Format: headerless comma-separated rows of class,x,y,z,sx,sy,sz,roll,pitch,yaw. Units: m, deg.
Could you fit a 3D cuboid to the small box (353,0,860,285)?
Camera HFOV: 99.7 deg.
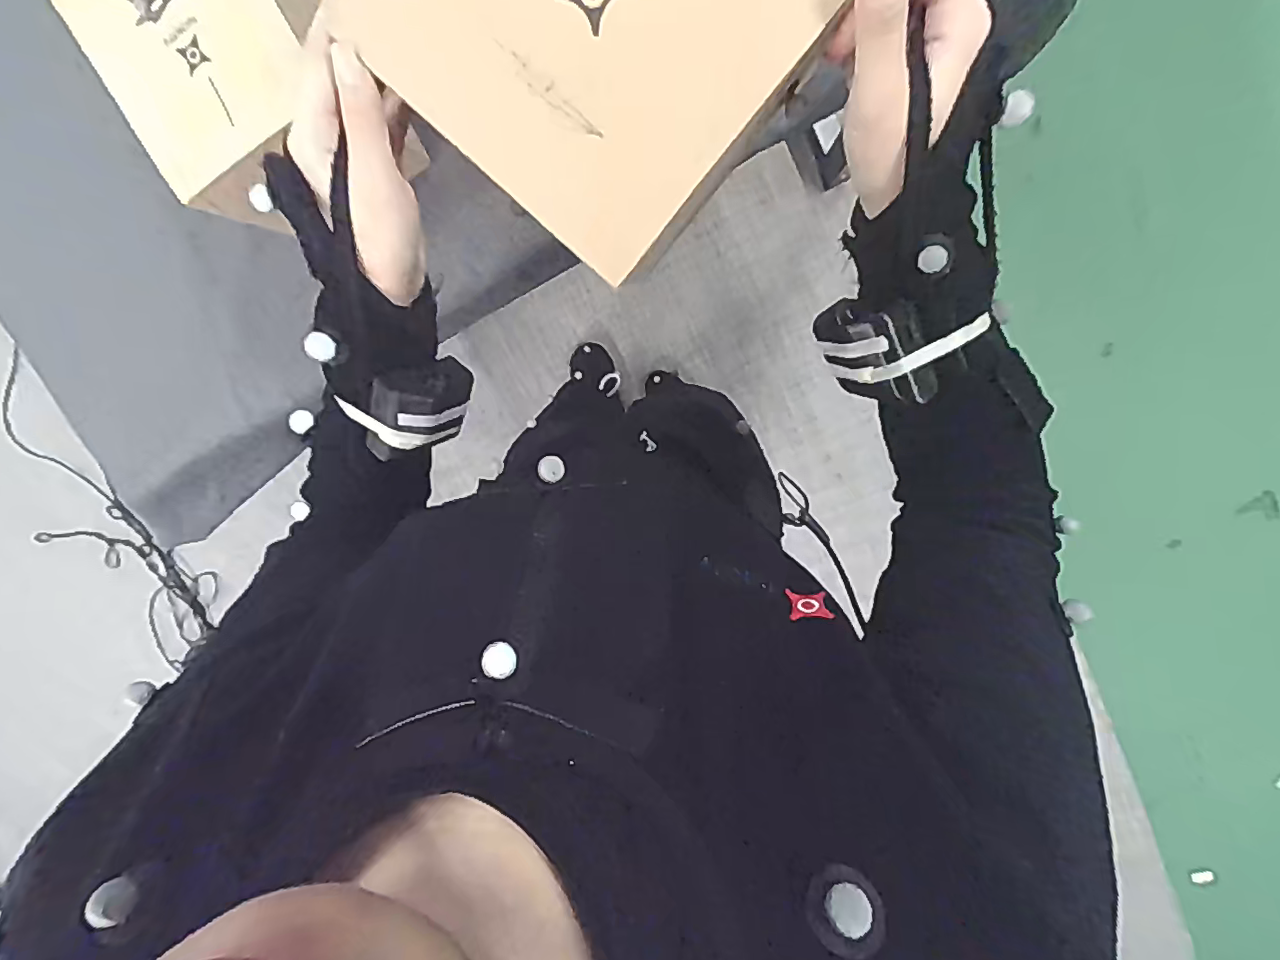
small box,-0.007,-0.234,0.302,0.168,0.176,0.179,39,109,-9

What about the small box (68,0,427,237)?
small box,-0.341,-0.361,0.507,0.168,0.176,0.179,-26,99,12
